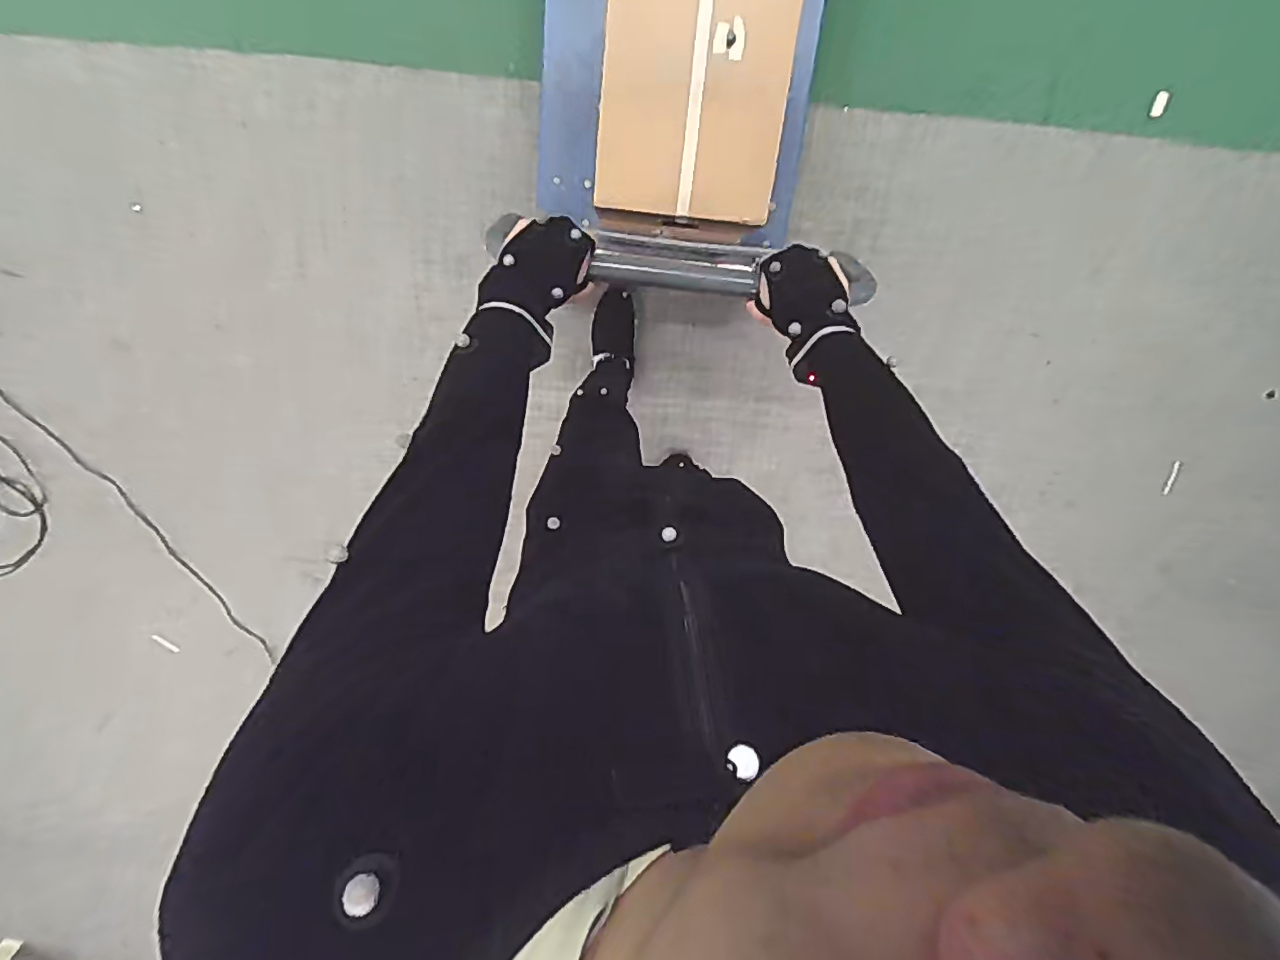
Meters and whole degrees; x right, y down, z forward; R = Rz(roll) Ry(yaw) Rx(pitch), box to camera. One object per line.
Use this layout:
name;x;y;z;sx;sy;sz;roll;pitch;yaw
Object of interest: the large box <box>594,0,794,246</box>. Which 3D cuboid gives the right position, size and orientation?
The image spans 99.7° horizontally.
large box;0.085;-0.700;1.054;0.320;0.320;0.408;5;107;-3
